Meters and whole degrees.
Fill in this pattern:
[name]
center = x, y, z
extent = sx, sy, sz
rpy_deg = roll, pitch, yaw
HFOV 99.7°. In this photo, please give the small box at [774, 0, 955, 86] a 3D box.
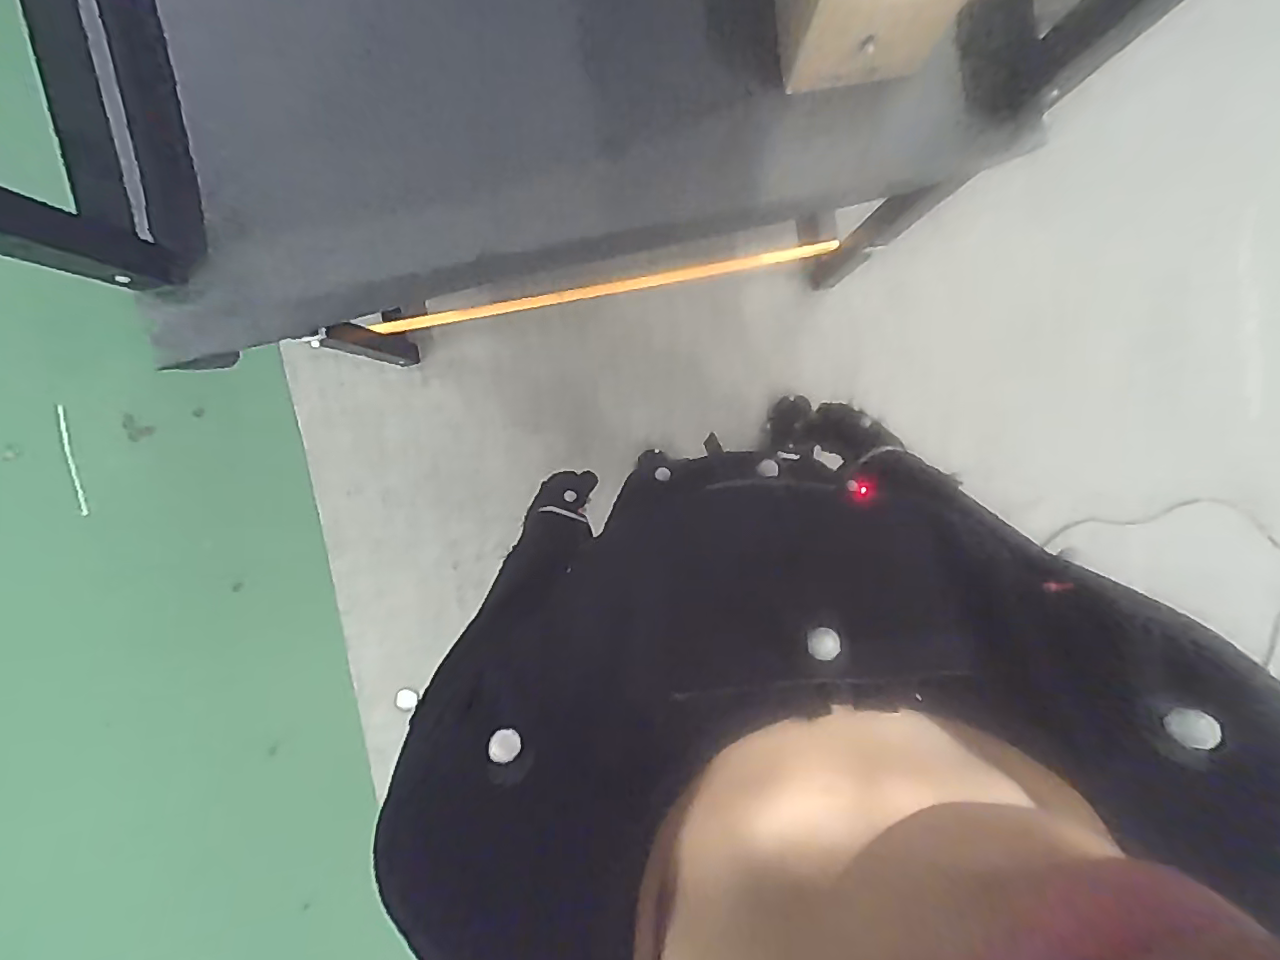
[small box]
center = 0.250, -0.577, 0.602
extent = 0.168, 0.176, 0.179
rpy_deg = -7, 94, 2
